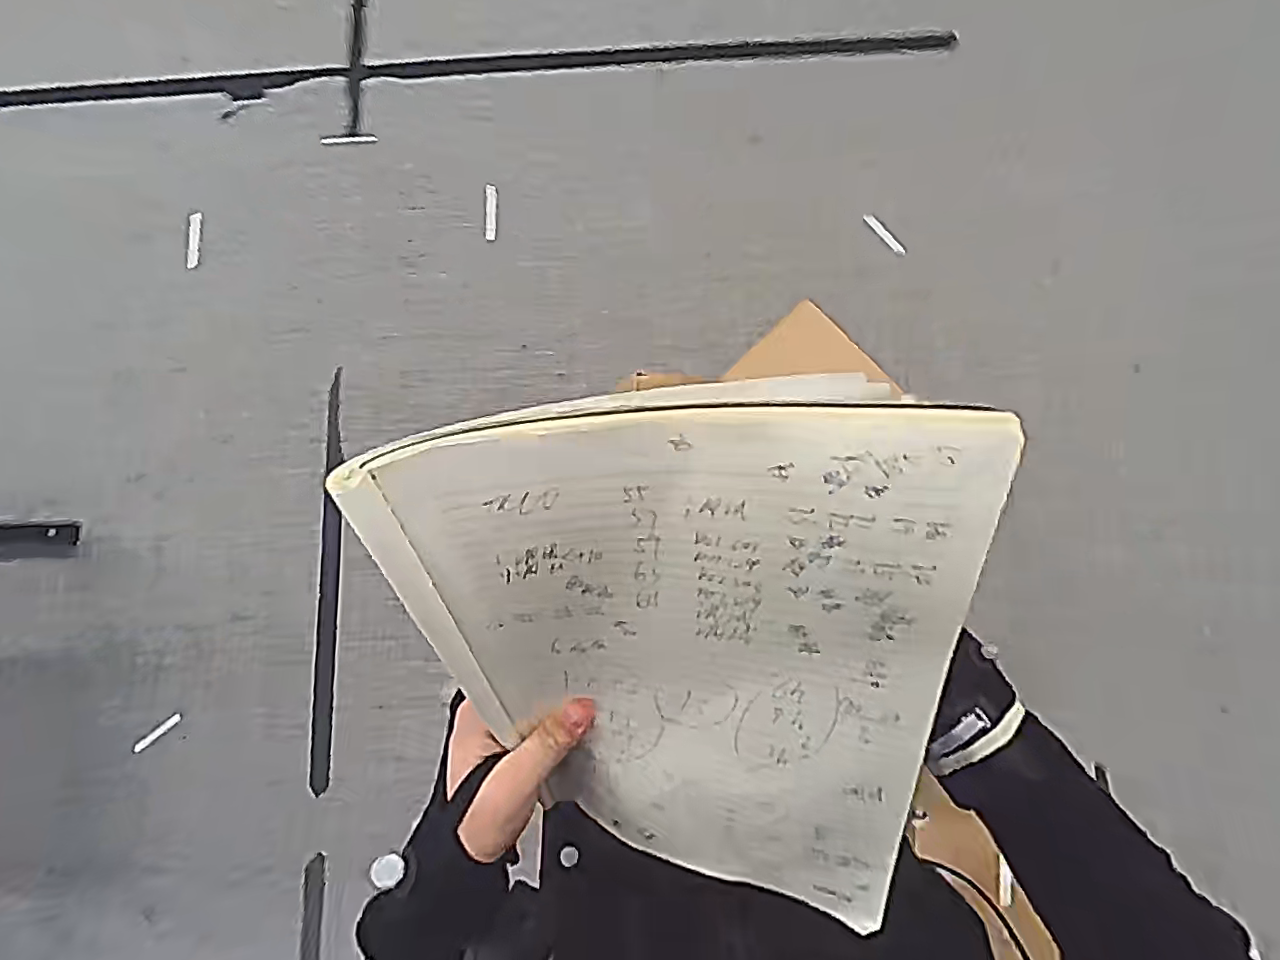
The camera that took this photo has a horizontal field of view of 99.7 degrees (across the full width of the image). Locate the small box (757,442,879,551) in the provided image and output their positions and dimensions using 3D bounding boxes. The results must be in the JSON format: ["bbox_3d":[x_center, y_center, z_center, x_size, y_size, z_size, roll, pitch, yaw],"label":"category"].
[{"bbox_3d":[0.393,0.036,1.225,0.179,0.176,0.168,45,88,3],"label":"small box"}]
